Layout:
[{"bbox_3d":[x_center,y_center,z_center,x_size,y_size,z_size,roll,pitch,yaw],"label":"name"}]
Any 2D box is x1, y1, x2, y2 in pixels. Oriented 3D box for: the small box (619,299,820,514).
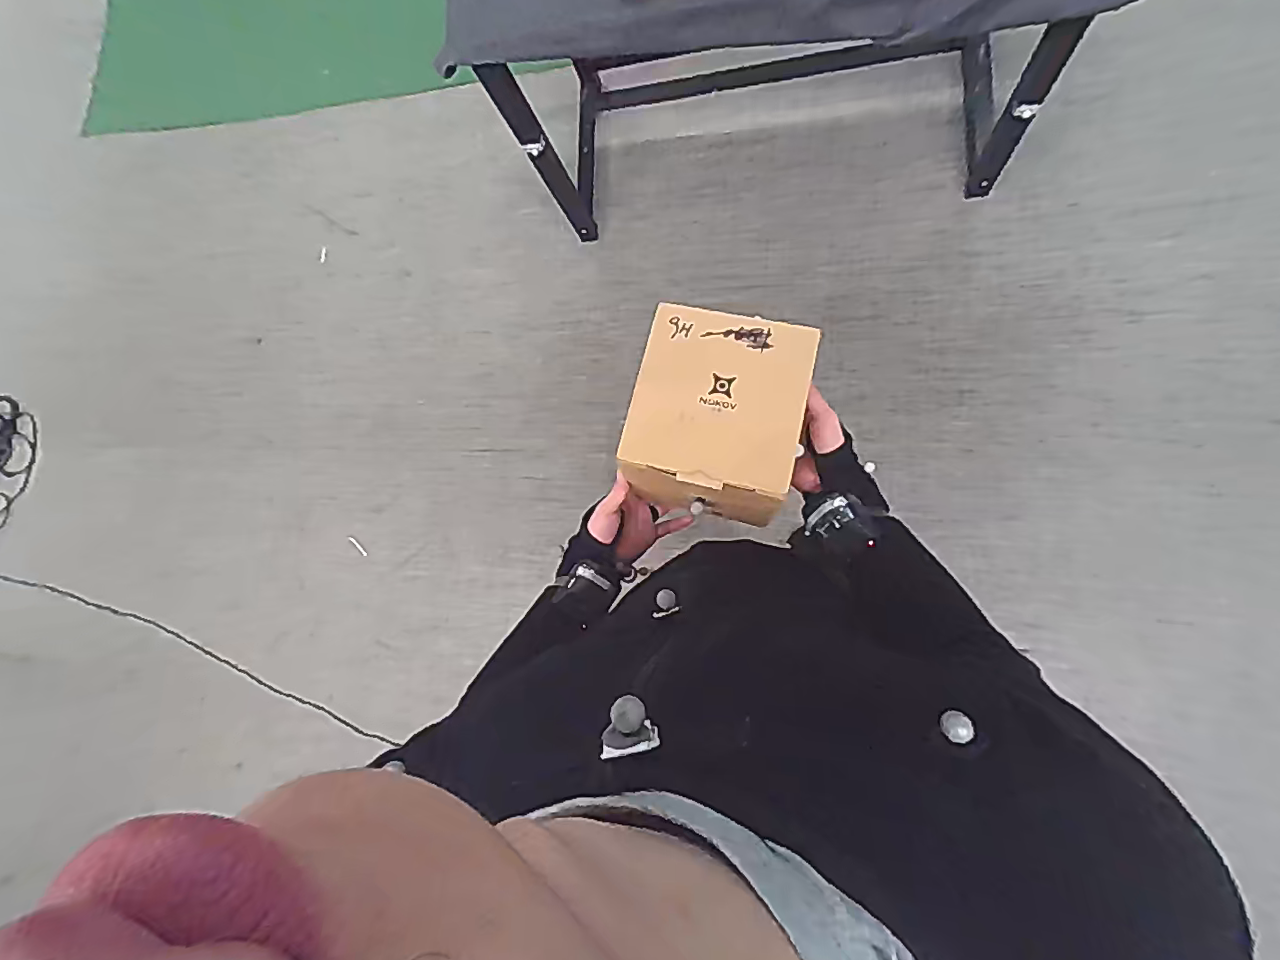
[{"bbox_3d":[0.086,-0.069,0.602,0.168,0.176,0.179,13,79,9],"label":"small box"}]
